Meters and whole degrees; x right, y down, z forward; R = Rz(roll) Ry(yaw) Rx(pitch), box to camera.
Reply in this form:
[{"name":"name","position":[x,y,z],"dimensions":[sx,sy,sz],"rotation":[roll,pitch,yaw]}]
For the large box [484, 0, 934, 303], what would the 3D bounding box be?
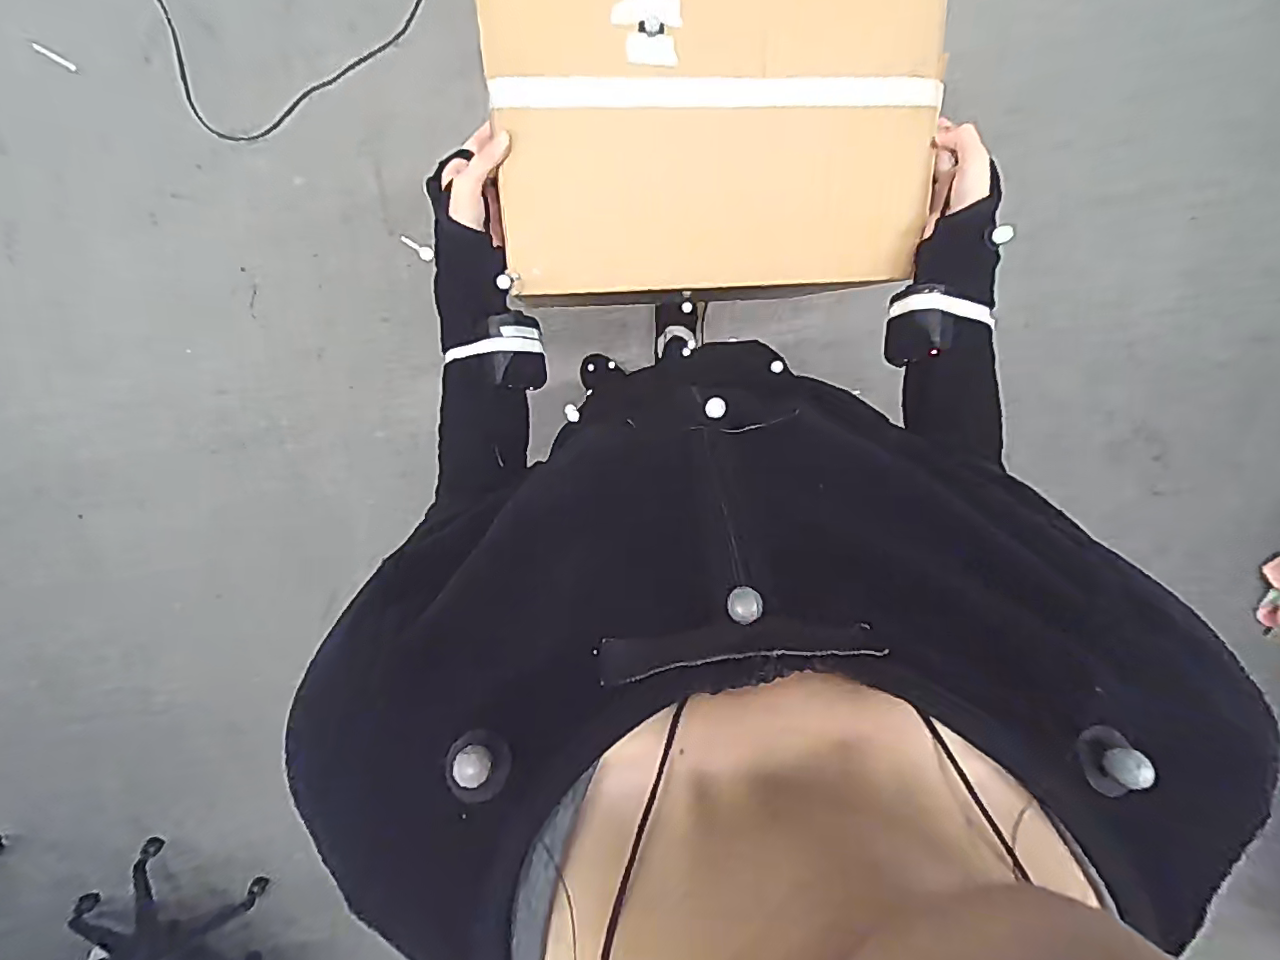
[{"name":"large box","position":[0.053,-0.380,0.629],"dimensions":[0.408,0.320,0.320],"rotation":[-4,106,-7]}]
